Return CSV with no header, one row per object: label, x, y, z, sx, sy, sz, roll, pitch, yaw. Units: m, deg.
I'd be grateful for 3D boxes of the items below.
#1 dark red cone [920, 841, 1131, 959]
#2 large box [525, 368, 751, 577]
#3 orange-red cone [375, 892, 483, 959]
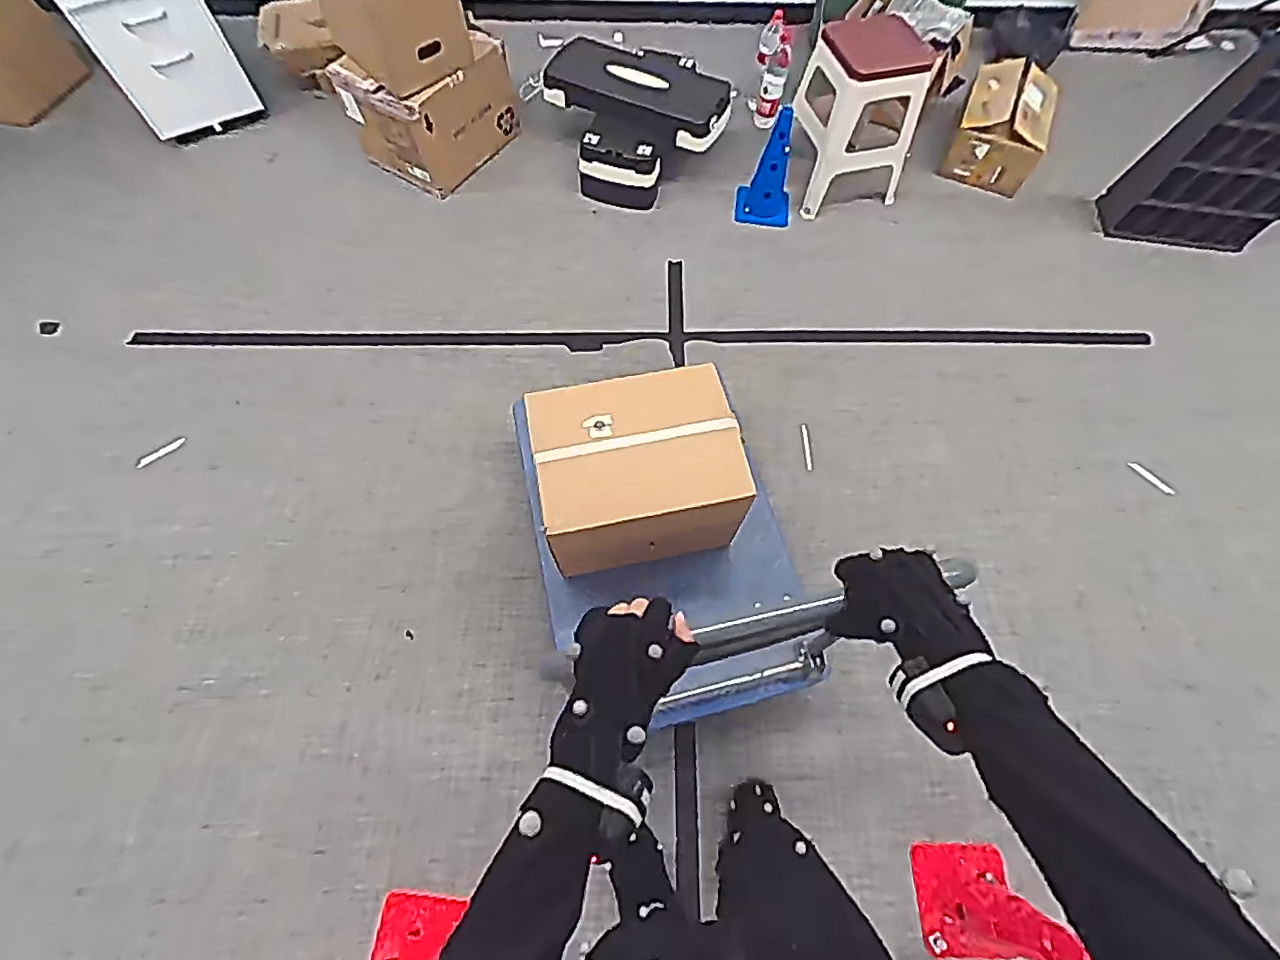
dark red cone,0.702,0.799,0.973,0.201,0.394,0.202,1,65,-2
large box,-0.011,-0.003,1.205,0.408,0.320,0.320,-11,66,-5
orange-red cone,-0.428,0.887,0.940,0.198,0.360,0.199,7,63,2
